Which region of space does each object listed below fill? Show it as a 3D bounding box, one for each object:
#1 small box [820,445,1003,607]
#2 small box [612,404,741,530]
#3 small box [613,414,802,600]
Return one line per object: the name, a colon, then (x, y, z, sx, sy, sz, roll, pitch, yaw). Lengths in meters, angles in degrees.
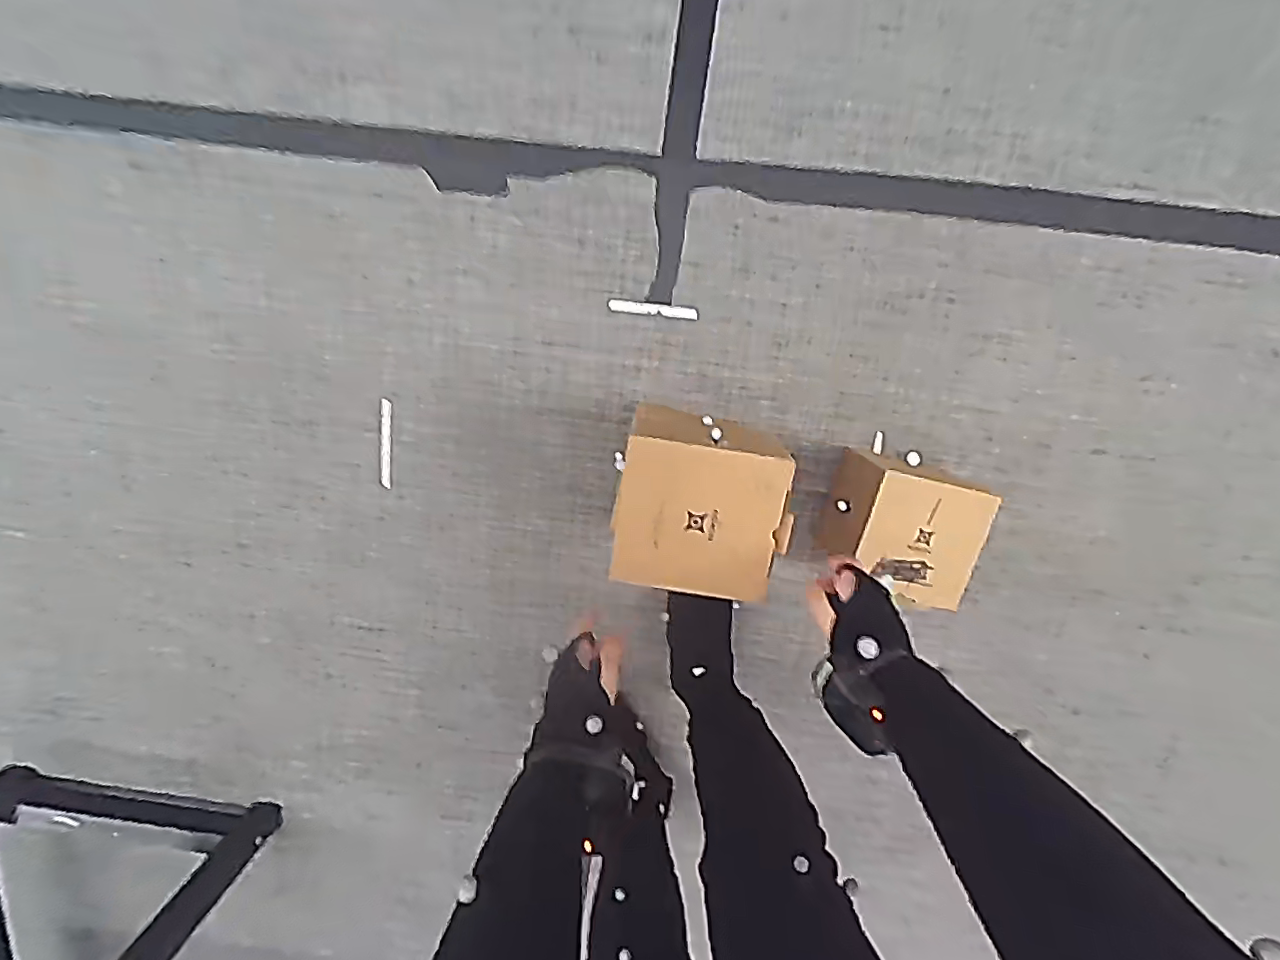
small box: (0.390, 0.061, 0.816, 0.168, 0.176, 0.179, 13, 104, -2)
small box: (0.065, -0.011, 0.808, 0.179, 0.176, 0.168, 13, 105, -2)
small box: (0.071, 0.021, 0.647, 0.179, 0.176, 0.168, 9, 105, 0)
